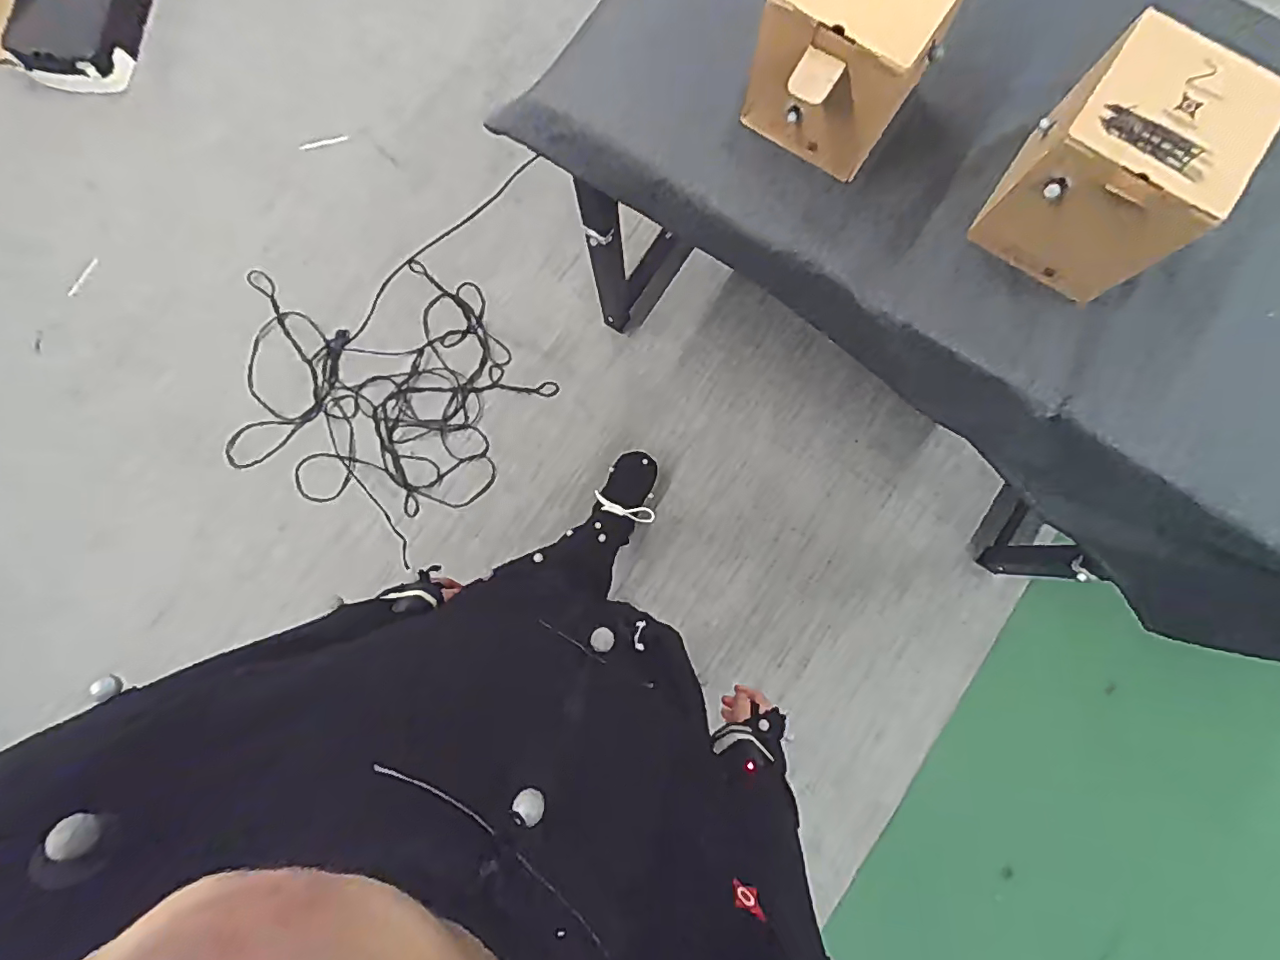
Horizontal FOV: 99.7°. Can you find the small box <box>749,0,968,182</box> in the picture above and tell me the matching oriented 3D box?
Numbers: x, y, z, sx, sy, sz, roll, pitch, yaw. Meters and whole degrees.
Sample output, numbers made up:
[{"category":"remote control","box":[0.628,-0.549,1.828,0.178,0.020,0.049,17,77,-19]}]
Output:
[{"category":"small box","box":[0.247,-0.501,0.629,0.168,0.176,0.179,33,85,4]}]
